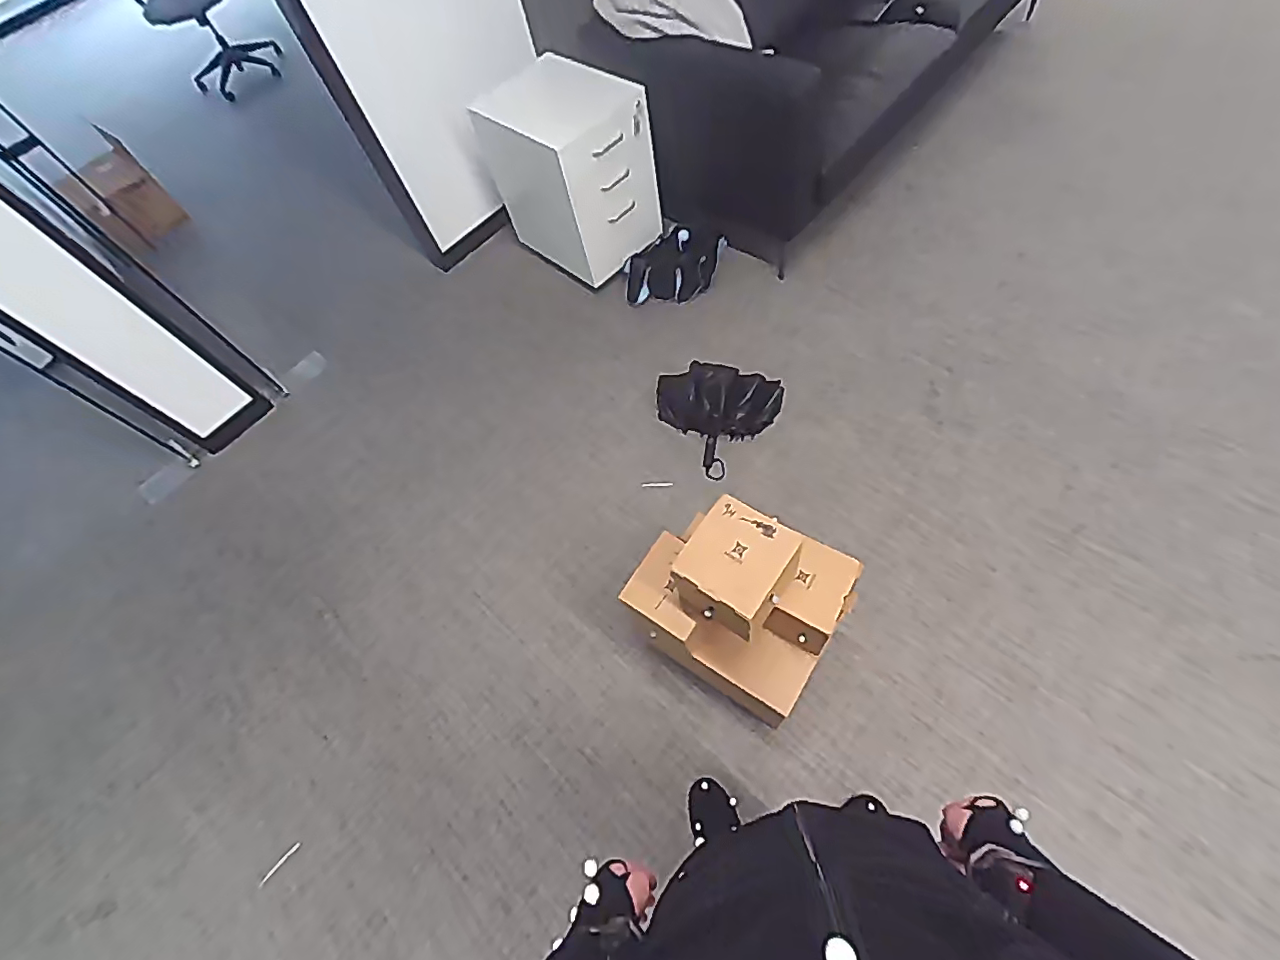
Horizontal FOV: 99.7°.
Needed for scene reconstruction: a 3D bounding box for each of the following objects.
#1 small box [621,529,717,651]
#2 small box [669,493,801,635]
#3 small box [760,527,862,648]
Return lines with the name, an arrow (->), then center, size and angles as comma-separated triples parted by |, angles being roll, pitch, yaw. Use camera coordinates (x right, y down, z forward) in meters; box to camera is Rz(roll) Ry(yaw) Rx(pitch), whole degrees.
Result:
small box -> 0.085, 0.241, 1.166 | 0.168, 0.176, 0.179 | 30, 73, 24
small box -> 0.179, 0.162, 1.000 | 0.168, 0.176, 0.179 | 31, 72, 24
small box -> 0.332, 0.231, 1.127 | 0.179, 0.176, 0.168 | 25, 66, 23
